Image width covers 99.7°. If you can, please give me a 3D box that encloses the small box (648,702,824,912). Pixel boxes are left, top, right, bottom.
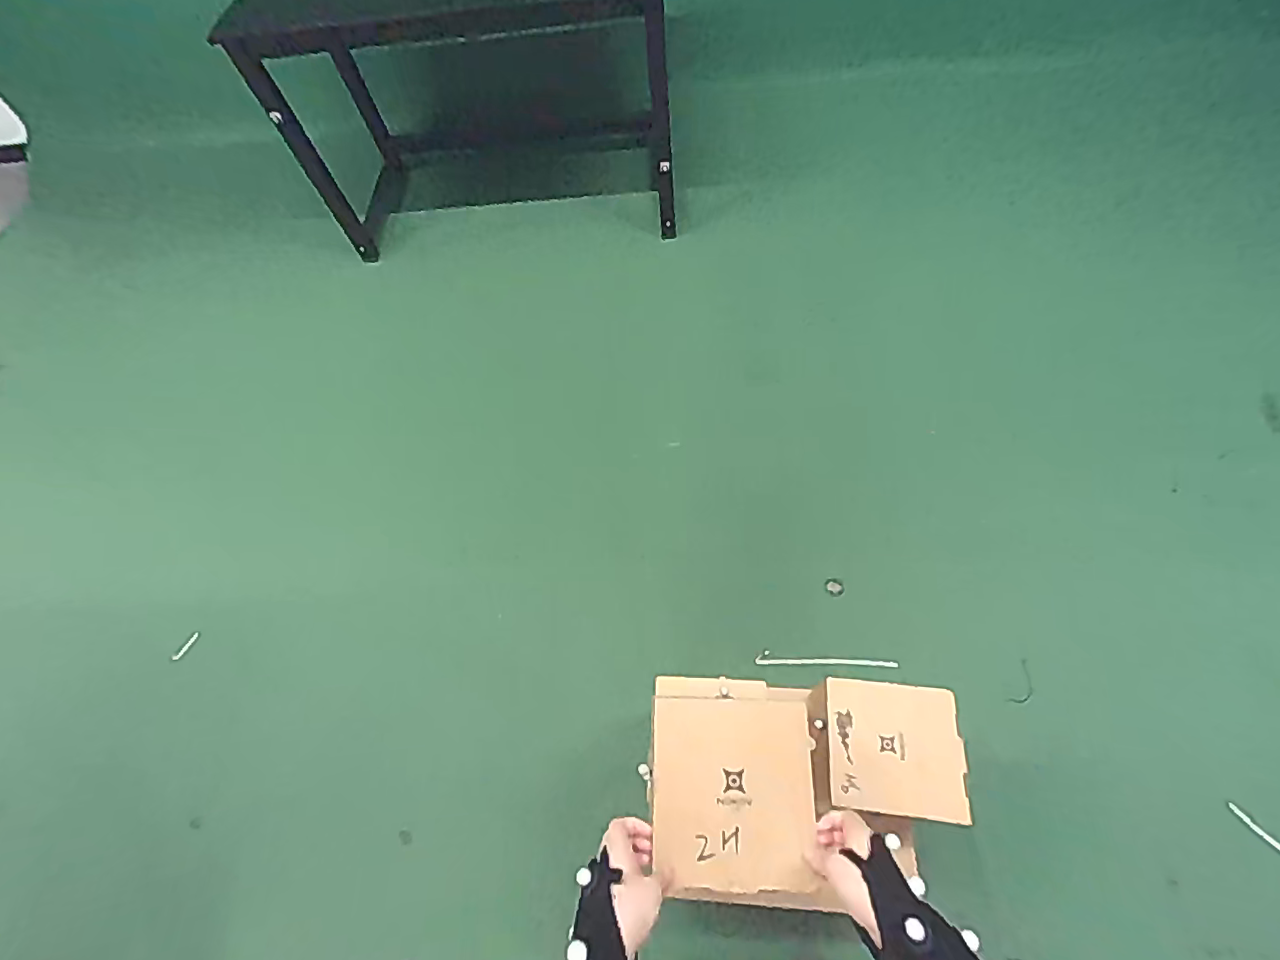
[{"bbox_3d":[0.095,0.349,0.610,0.168,0.176,0.179,1,68,2],"label":"small box"}]

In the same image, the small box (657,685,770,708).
[{"bbox_3d":[0.107,0.420,0.820,0.168,0.176,0.179,0,60,6],"label":"small box"}]

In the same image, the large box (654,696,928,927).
[{"bbox_3d":[0.235,0.583,0.993,0.408,0.320,0.320,0,61,6],"label":"large box"}]

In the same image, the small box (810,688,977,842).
[{"bbox_3d":[0.354,0.413,0.792,0.179,0.176,0.168,4,60,9],"label":"small box"}]
